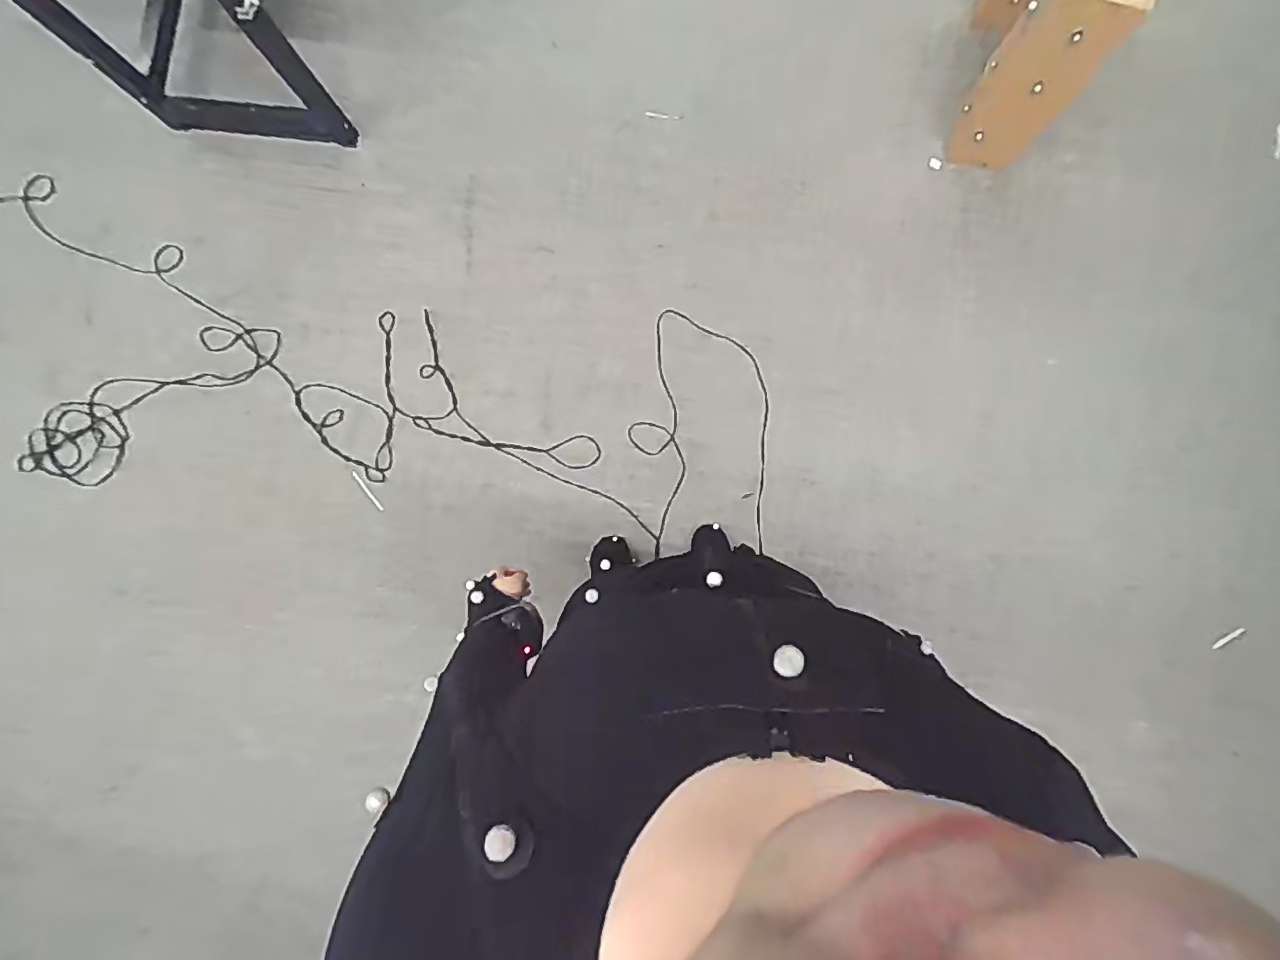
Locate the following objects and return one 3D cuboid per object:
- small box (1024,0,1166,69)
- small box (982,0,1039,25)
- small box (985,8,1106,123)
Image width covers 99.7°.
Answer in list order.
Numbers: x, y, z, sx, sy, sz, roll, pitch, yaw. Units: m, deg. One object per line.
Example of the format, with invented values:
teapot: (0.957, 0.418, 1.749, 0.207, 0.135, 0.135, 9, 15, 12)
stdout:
small box: (0.965, -1.016, 1.137, 0.179, 0.176, 0.168, 17, 87, 5)
small box: (1.081, -1.403, 1.486, 0.179, 0.176, 0.168, 12, 87, 4)
small box: (0.981, -1.003, 1.301, 0.179, 0.176, 0.168, 15, 87, 4)
